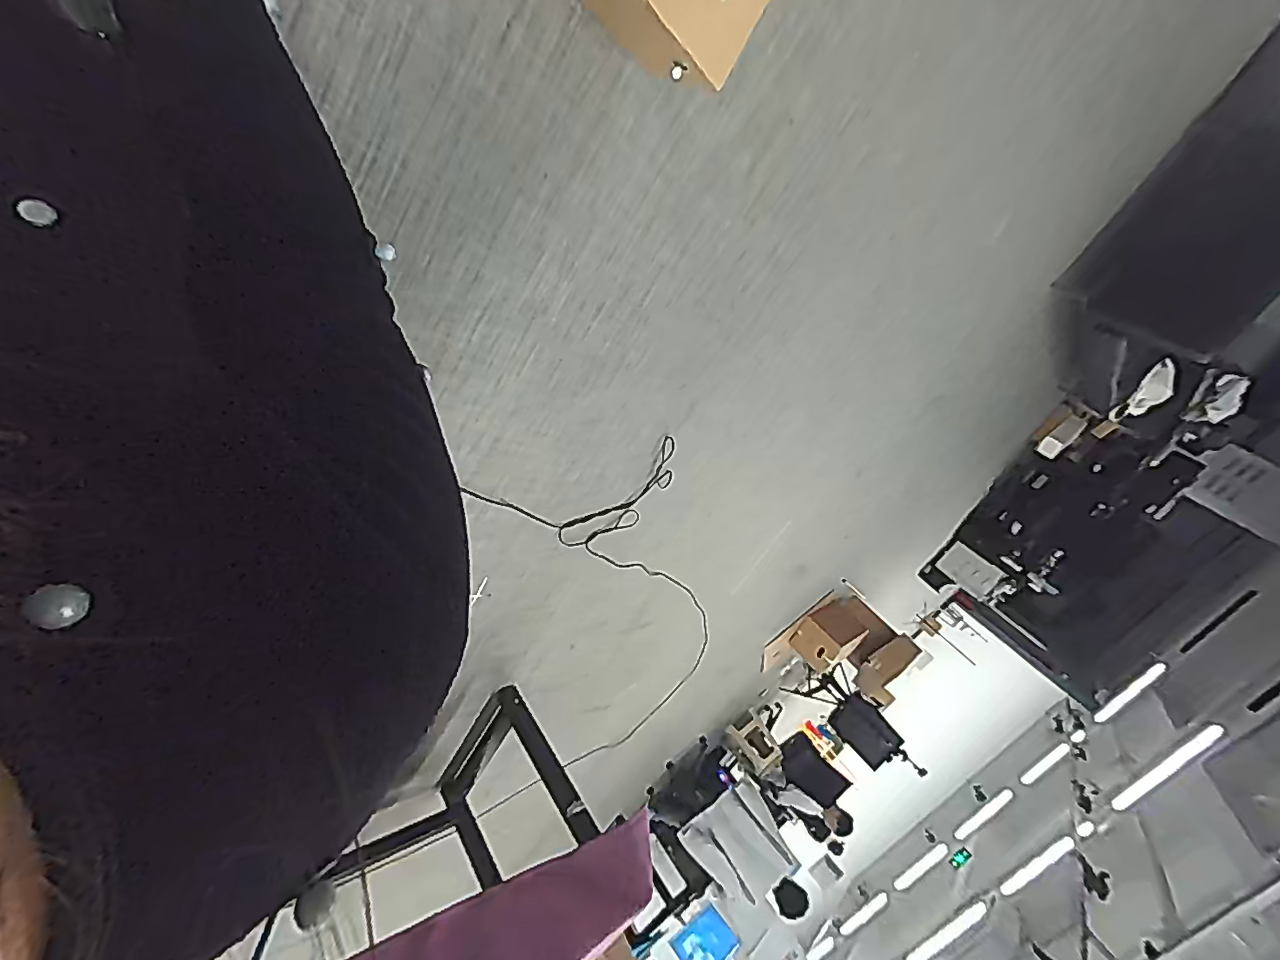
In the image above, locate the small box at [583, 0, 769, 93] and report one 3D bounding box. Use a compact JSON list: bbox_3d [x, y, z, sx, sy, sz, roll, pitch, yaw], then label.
[{"bbox_3d":[0.045,-0.639,0.678,0.179,0.176,0.168,7,121,-51],"label":"small box"}]
